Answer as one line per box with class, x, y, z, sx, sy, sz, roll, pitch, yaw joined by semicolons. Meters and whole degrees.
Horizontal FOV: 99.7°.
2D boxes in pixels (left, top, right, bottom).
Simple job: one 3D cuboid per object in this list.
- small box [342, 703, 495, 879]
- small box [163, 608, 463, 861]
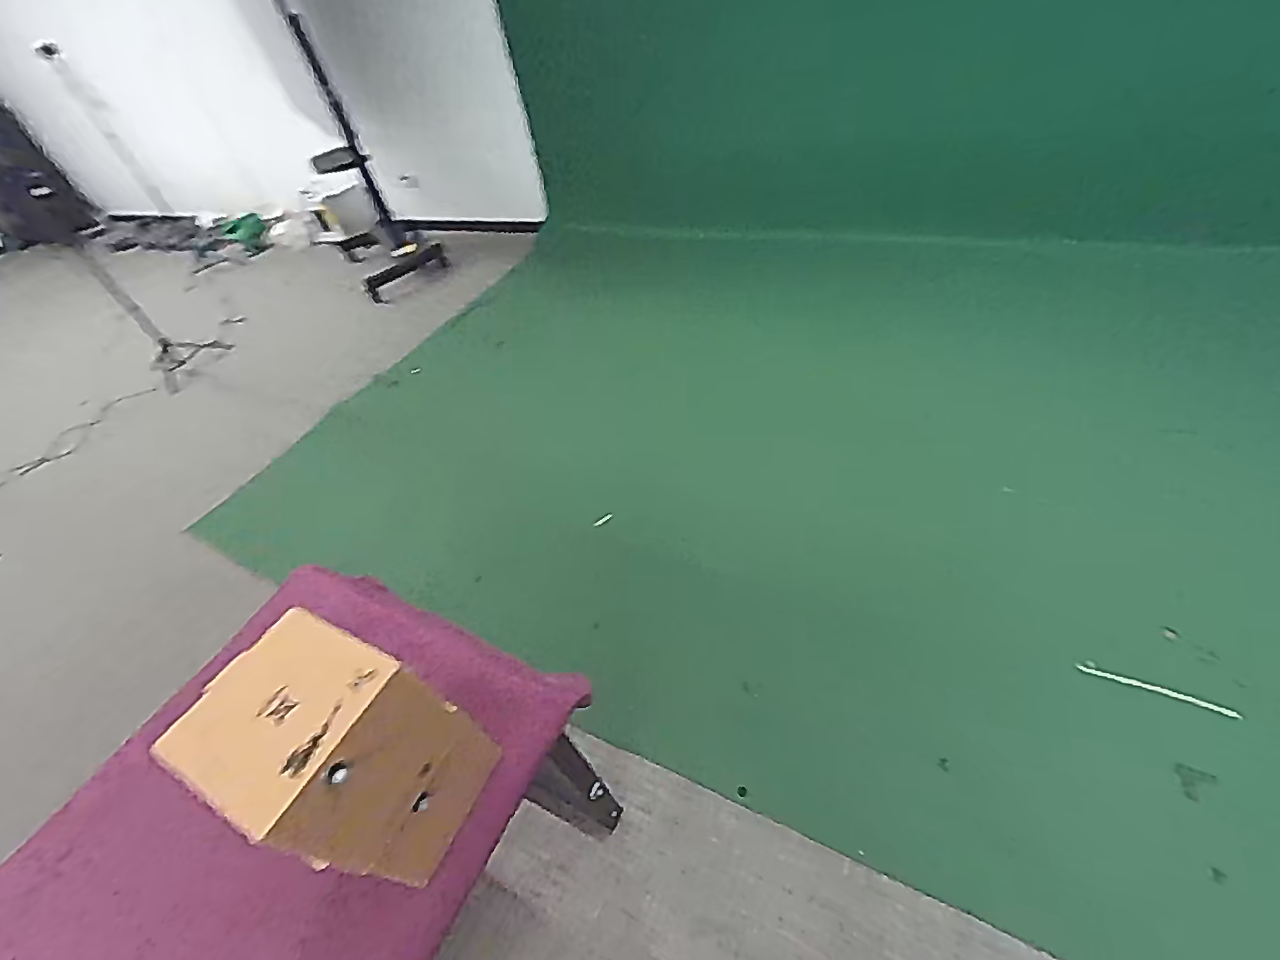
small box;-0.318;0.379;0.702;0.168;0.176;0.179;13;51;23
small box;-0.330;0.271;0.577;0.179;0.176;0.168;14;53;26
